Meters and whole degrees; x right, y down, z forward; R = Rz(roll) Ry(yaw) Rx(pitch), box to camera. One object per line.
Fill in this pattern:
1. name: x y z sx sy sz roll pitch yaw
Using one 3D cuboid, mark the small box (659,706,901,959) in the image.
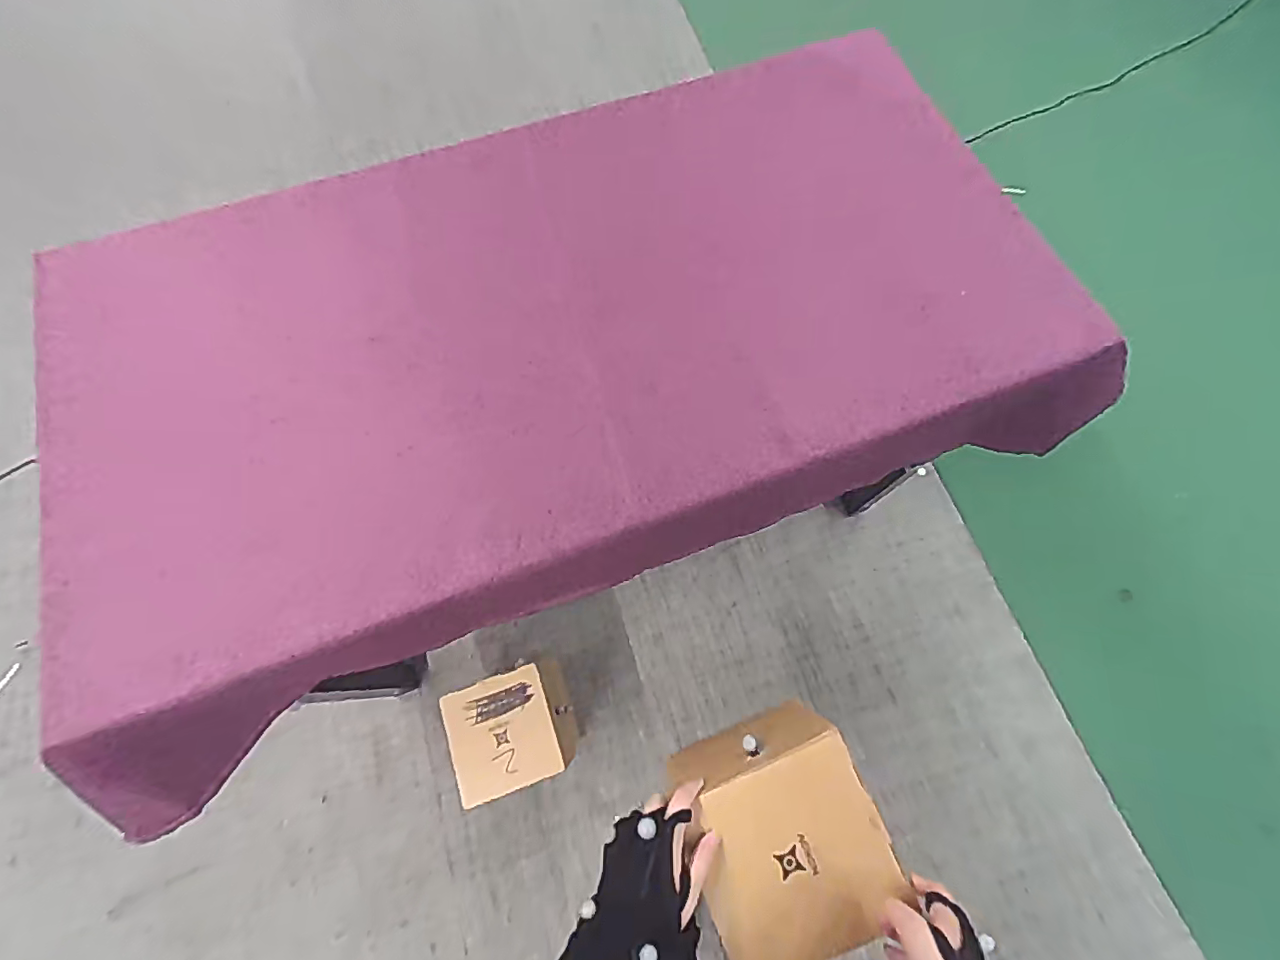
1. small box: 0.129 0.363 0.575 0.179 0.176 0.168 -22 78 -5
